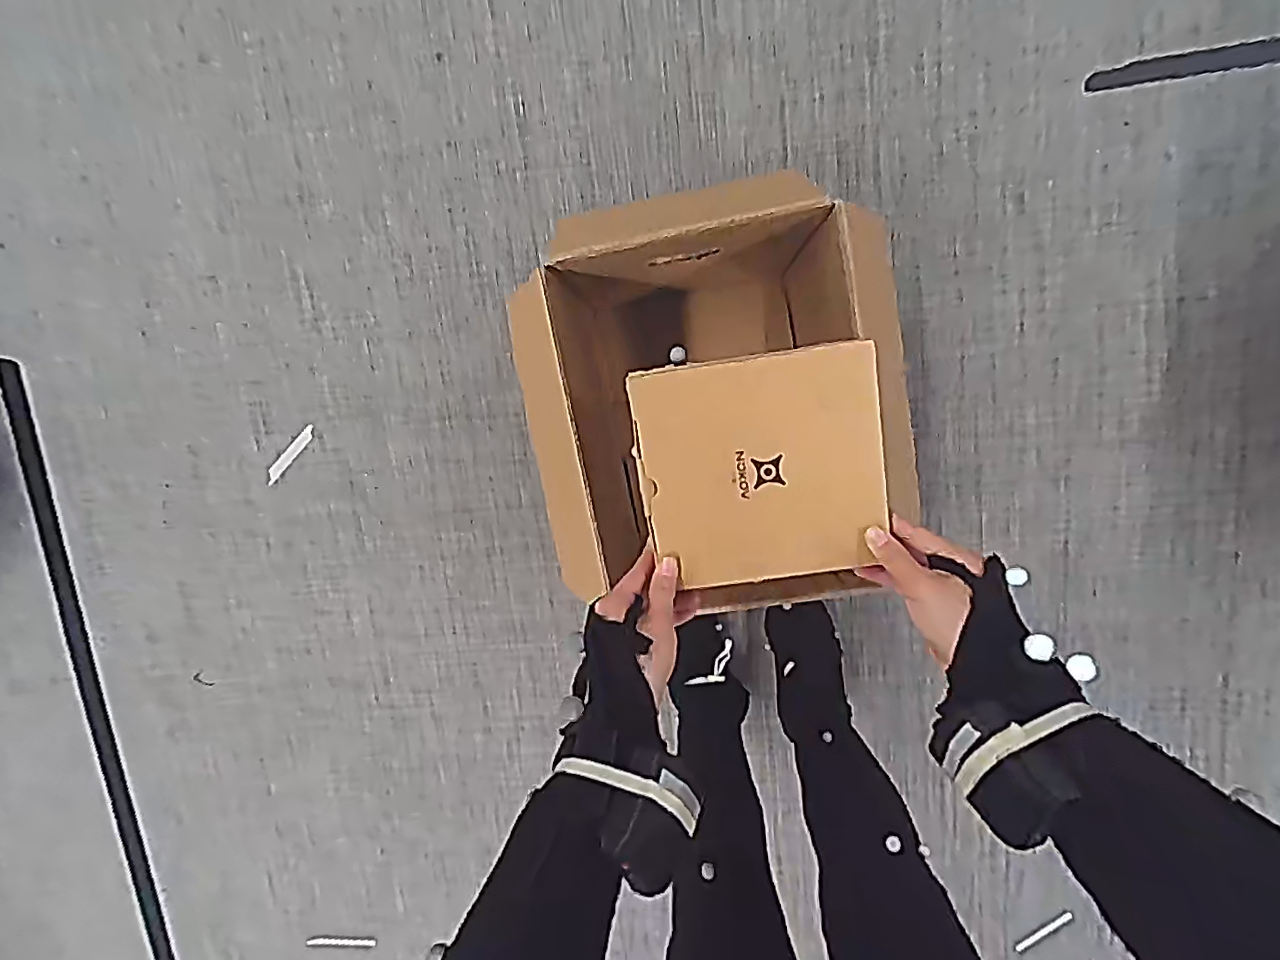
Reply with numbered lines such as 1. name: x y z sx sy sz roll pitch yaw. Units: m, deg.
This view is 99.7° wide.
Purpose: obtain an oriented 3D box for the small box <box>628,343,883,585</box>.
1. small box: 0.090 -0.024 0.476 0.179 0.176 0.168 -8 100 5
